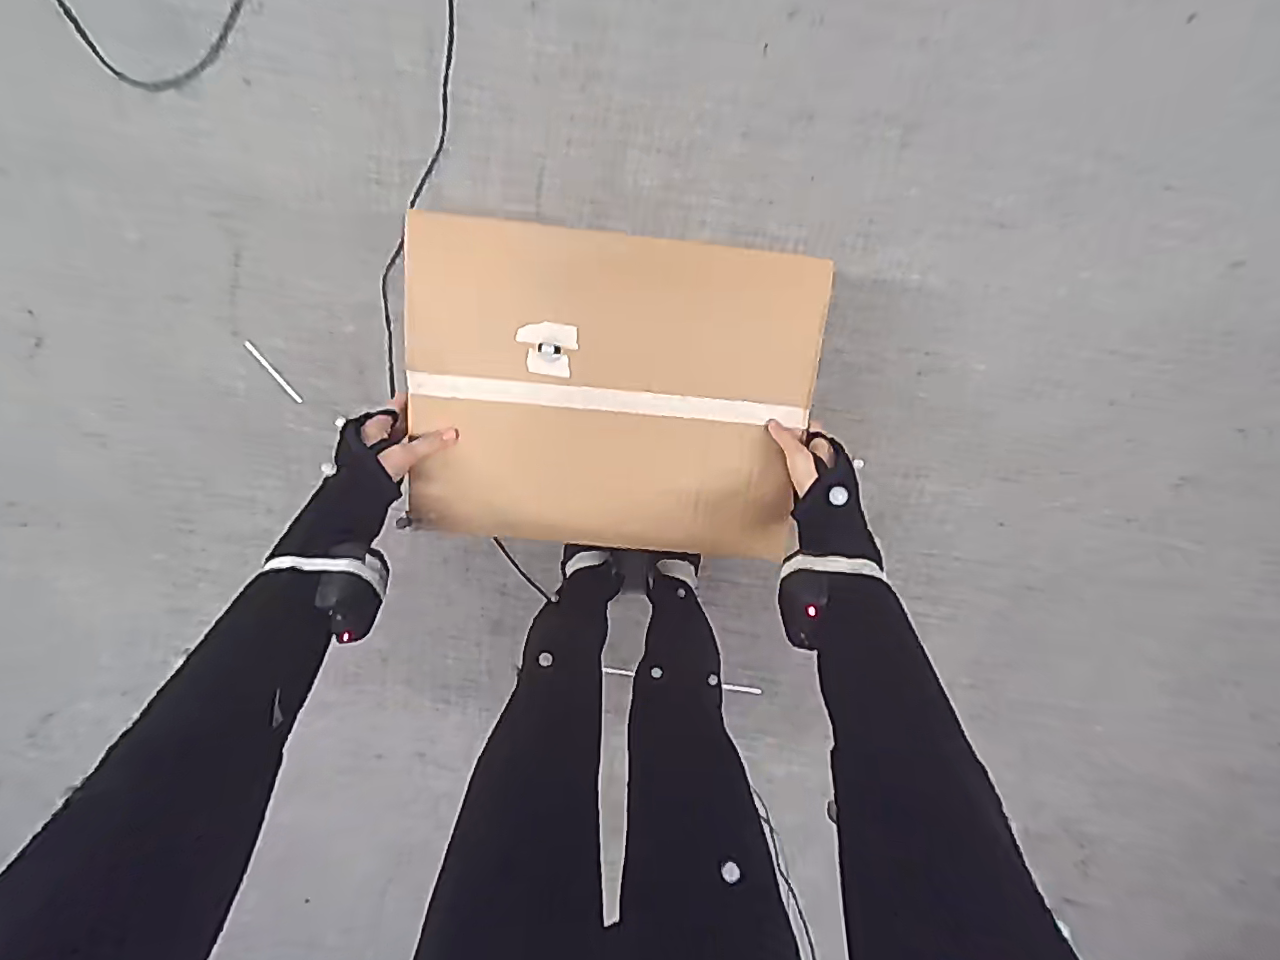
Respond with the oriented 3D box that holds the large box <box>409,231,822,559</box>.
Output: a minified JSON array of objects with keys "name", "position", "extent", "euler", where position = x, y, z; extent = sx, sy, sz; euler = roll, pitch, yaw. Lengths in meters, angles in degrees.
[{"name":"large box","position":[-0.032,-0.112,0.695],"extent":[0.408,0.320,0.320],"euler":[5,104,-3]}]
